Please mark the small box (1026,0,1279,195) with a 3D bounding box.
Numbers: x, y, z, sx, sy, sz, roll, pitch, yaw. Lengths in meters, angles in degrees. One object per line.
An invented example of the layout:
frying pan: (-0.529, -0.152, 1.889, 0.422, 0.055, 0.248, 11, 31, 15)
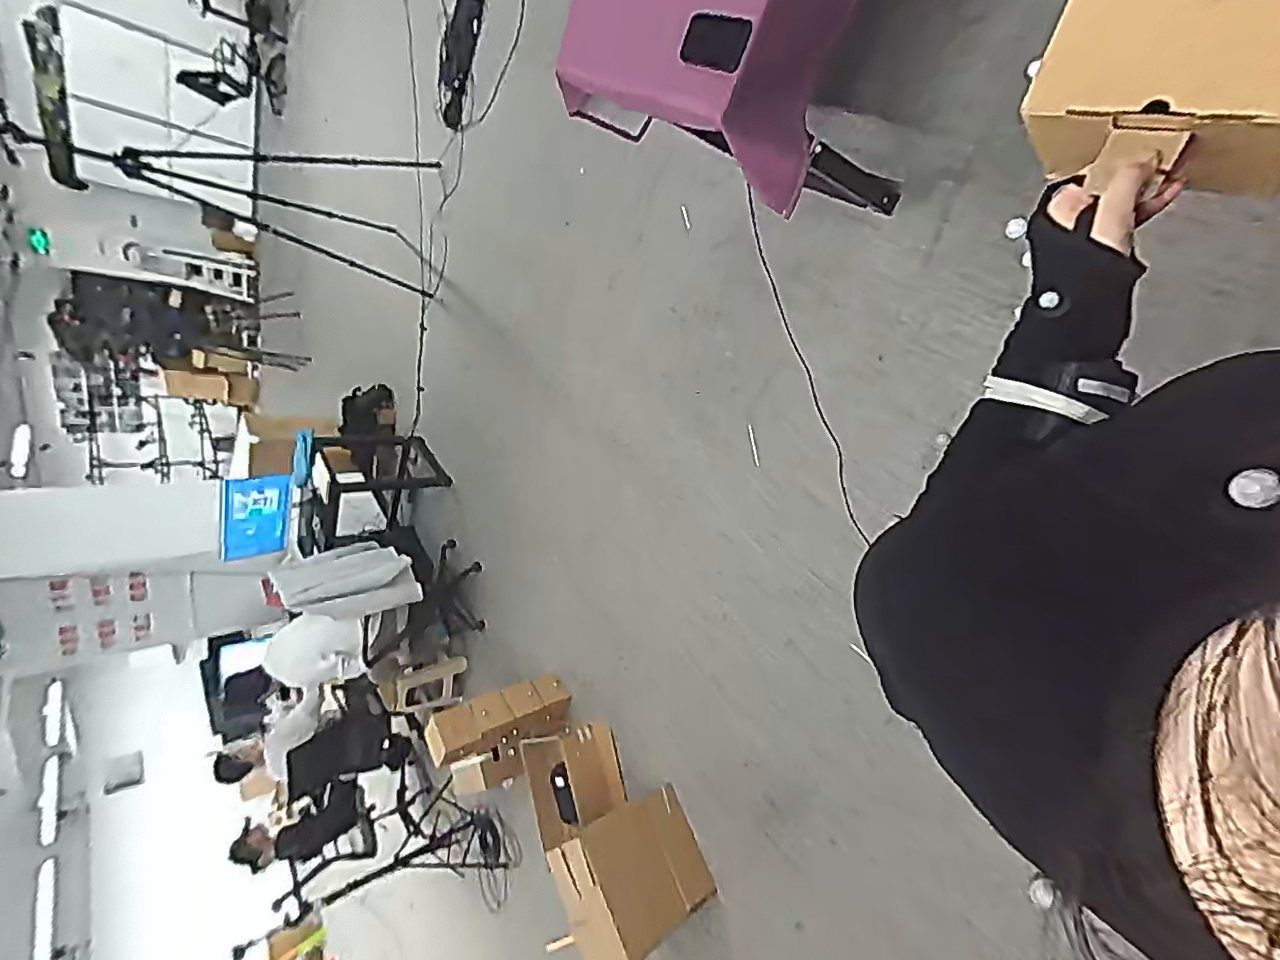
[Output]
small box: (0.423, -0.333, 0.396, 0.168, 0.176, 0.179, 31, 118, 34)
